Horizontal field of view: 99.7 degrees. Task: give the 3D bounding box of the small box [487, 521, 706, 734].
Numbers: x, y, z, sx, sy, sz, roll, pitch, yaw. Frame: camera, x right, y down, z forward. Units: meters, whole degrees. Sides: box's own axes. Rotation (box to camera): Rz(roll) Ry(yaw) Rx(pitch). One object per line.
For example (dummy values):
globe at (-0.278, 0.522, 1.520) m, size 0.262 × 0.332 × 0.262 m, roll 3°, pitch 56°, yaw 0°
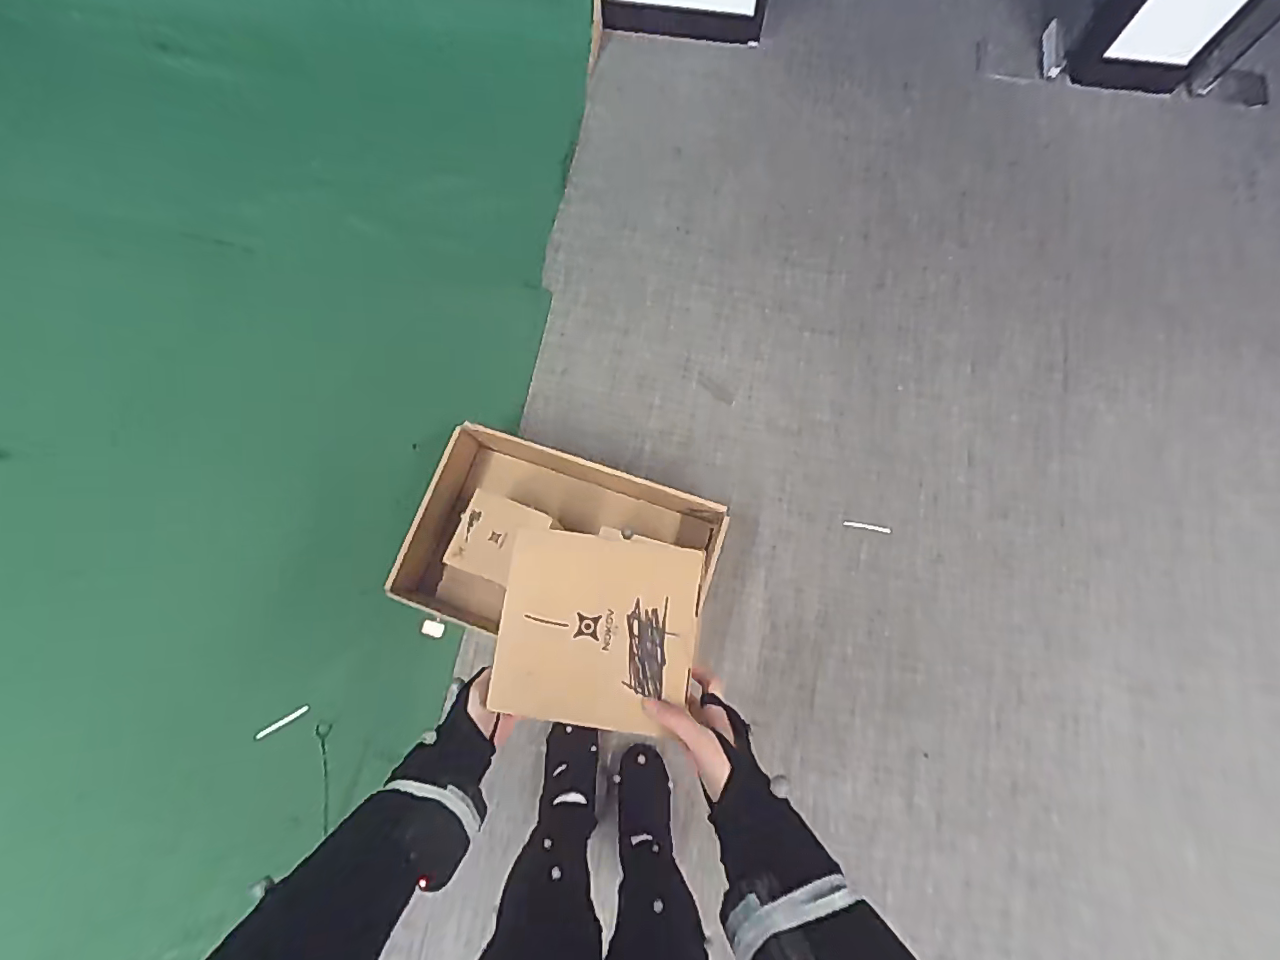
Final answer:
small box at (-0.036, 0.141, 0.564) m, size 0.179 × 0.176 × 0.168 m, roll 9°, pitch 81°, yaw 3°
